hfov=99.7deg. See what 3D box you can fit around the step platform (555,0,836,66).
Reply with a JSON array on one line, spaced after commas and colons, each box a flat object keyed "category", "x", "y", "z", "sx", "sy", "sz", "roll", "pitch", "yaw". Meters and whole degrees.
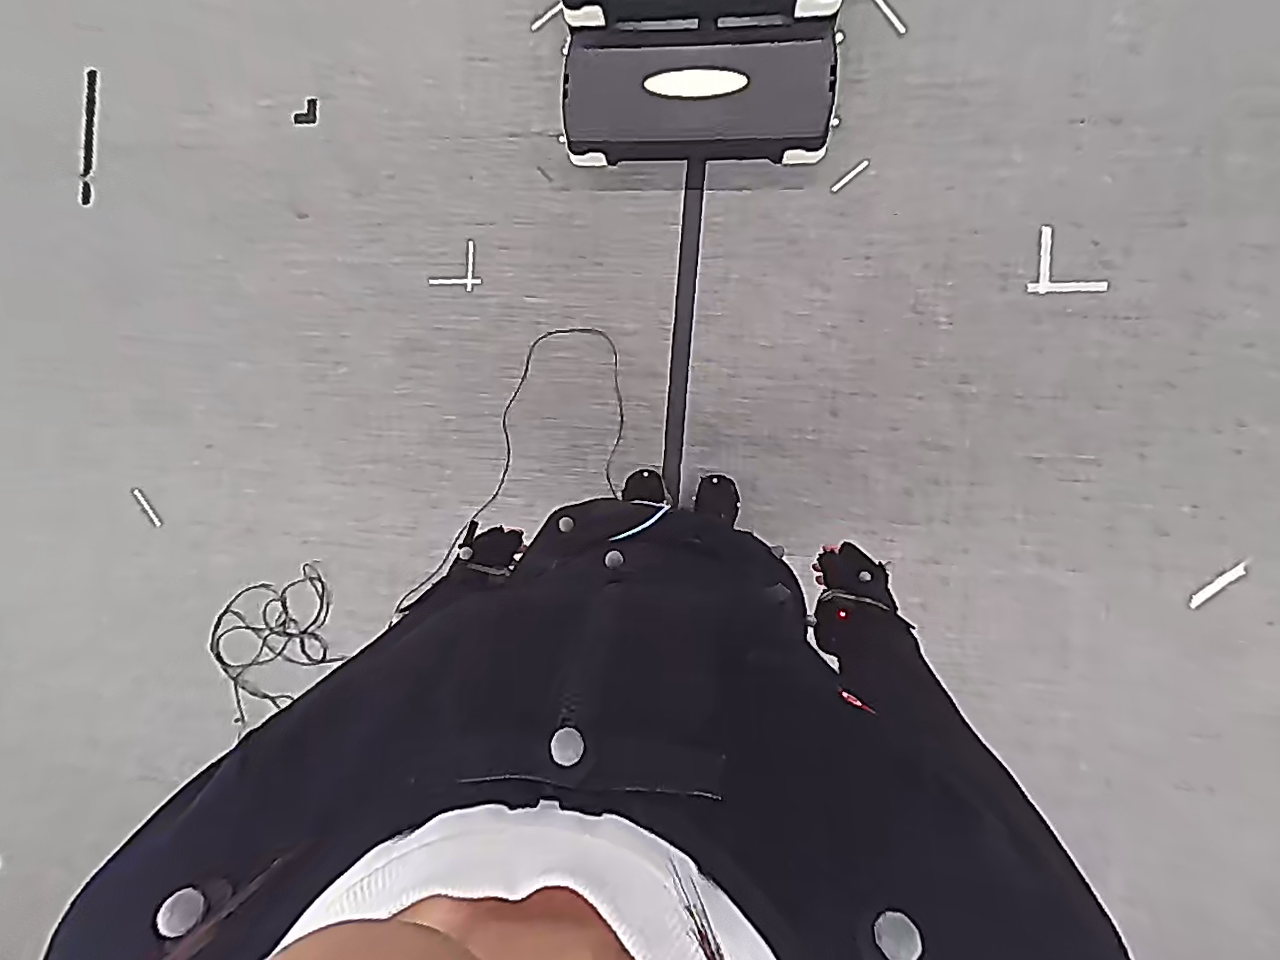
[{"category": "step platform", "x": 0.132, "y": -1.220, "z": 1.296, "sx": 0.684, "sy": 0.204, "sz": 0.286, "roll": 3, "pitch": 93, "yaw": 7}]
